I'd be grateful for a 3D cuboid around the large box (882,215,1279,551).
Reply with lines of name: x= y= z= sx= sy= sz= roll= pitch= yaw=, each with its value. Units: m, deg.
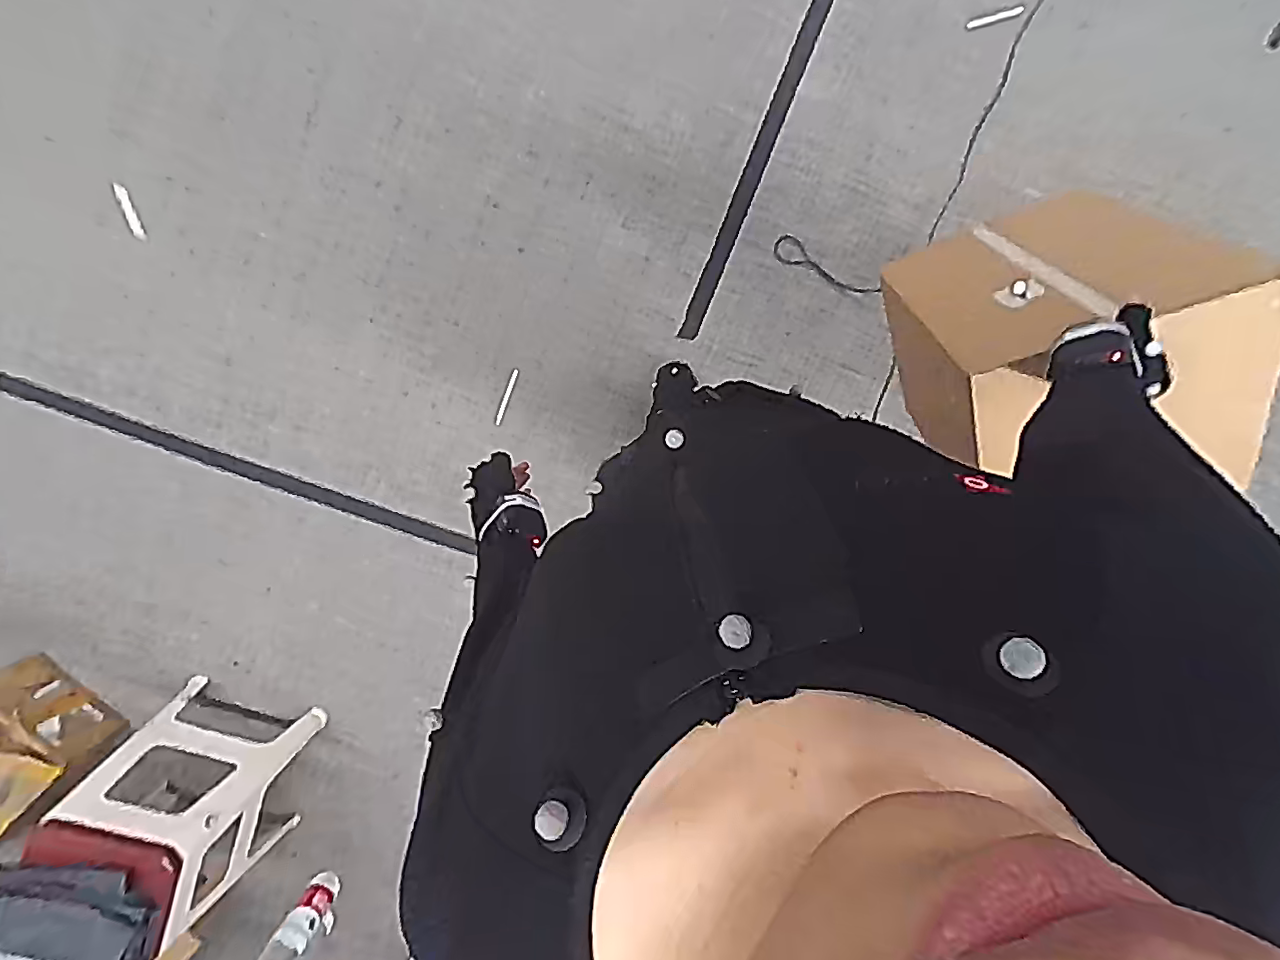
large box: x=0.616 y=-0.160 z=0.849 sx=0.320 sy=0.408 sz=0.320 roll=-17 pitch=125 yaw=17
